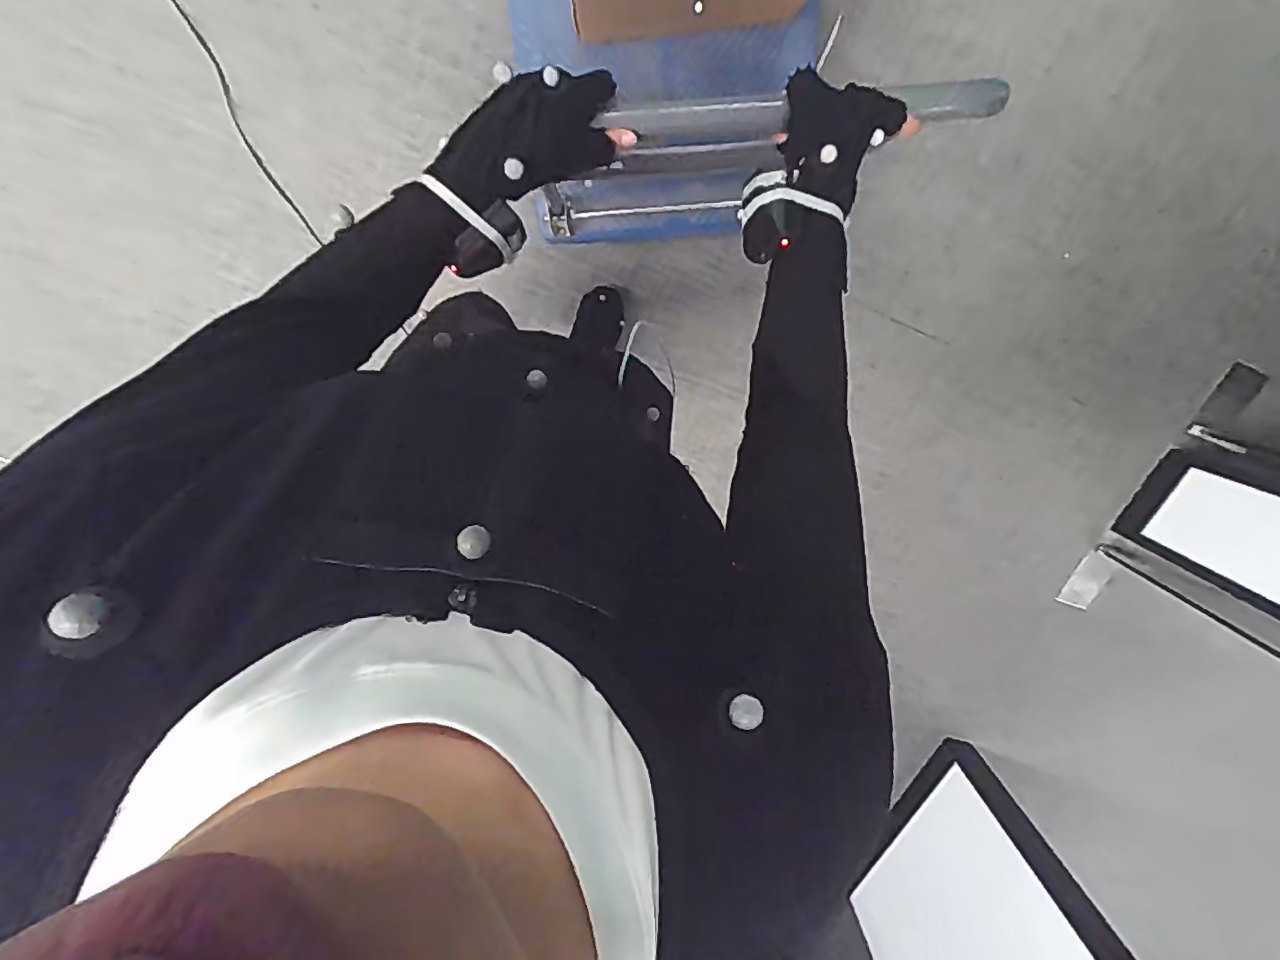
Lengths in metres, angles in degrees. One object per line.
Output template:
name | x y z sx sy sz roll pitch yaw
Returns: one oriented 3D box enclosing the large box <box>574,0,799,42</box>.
large box | 0.078 -0.926 0.822 0.408 0.320 0.320 -7 112 0
